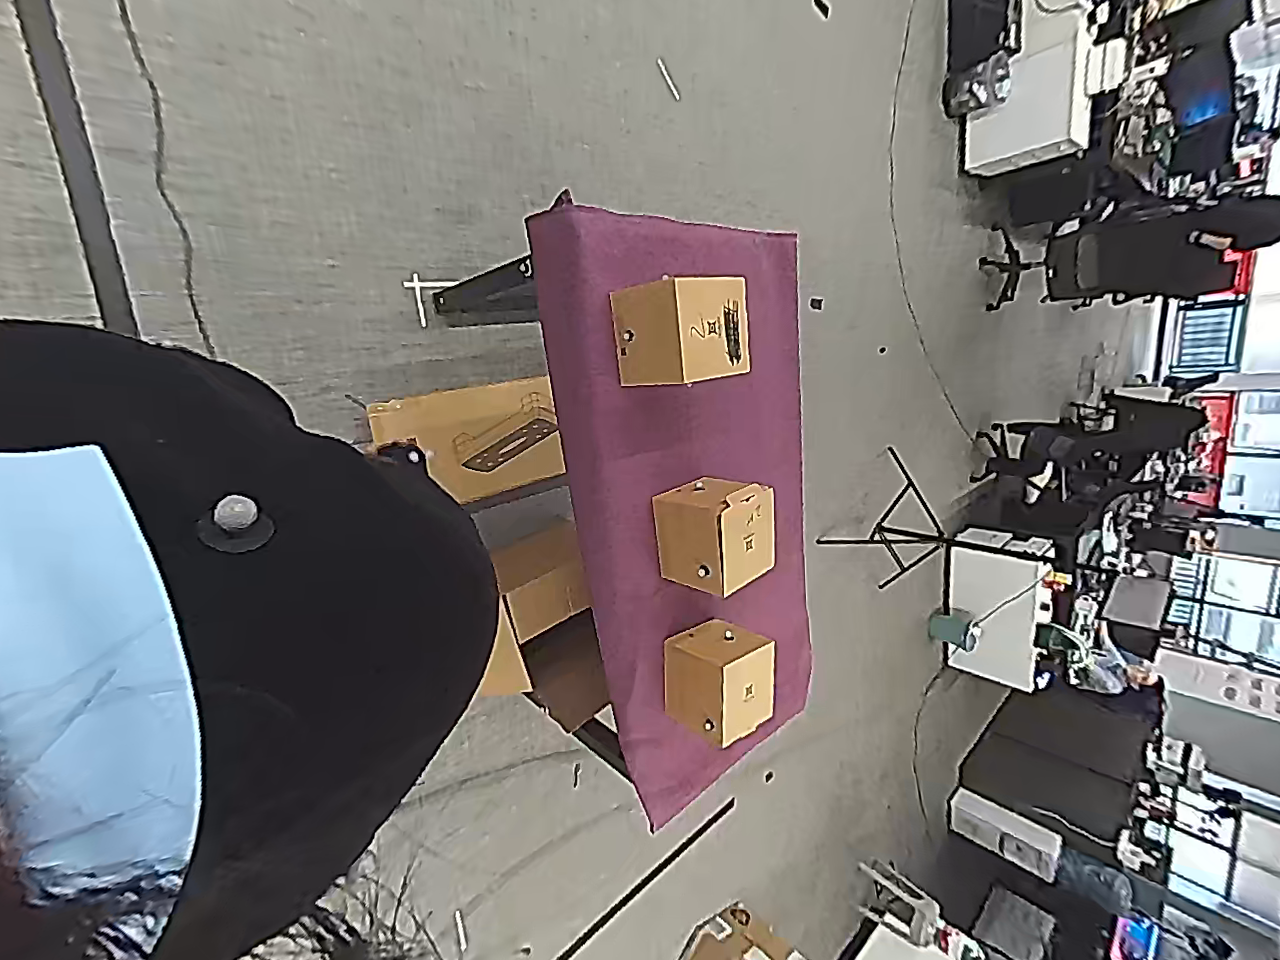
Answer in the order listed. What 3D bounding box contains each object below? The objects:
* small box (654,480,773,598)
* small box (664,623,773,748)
[{"bbox_3d":[0.146,0.108,1.084,0.168,0.176,0.179,-19,109,-40],"label":"small box"},{"bbox_3d":[0.164,0.420,1.147,0.168,0.176,0.179,-9,103,-40],"label":"small box"}]
